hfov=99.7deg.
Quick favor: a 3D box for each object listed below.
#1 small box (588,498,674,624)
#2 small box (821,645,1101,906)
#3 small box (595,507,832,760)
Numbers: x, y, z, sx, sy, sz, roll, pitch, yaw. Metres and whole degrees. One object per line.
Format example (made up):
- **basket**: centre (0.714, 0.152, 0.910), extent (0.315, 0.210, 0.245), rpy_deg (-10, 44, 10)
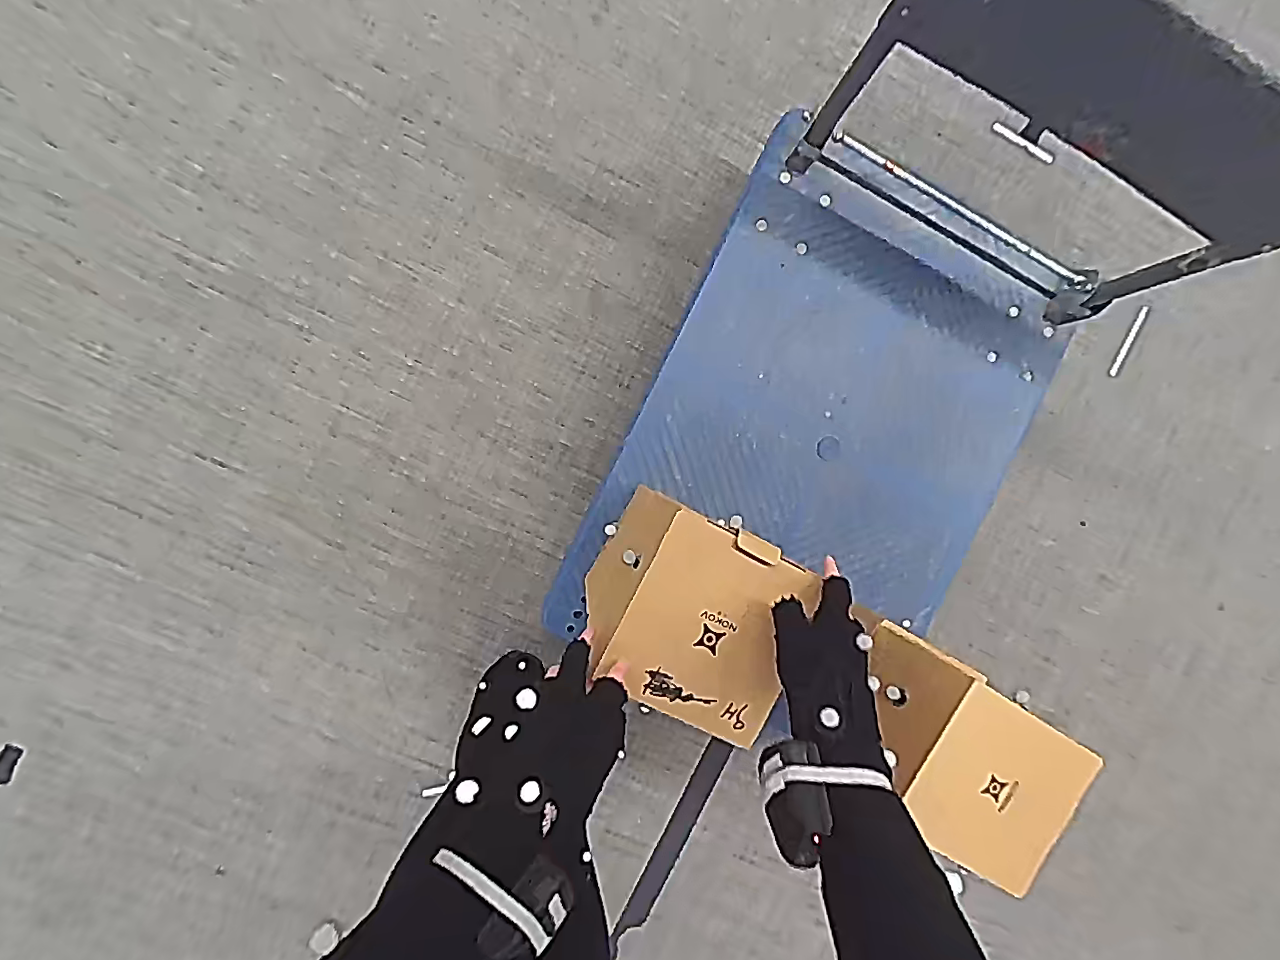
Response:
- **small box**: centre (0.044, 0.135, 0.729), extent (0.179, 0.176, 0.168), rpy_deg (31, 89, -6)
- **small box**: centre (0.340, 0.310, 0.609), extent (0.179, 0.176, 0.168), rpy_deg (32, 89, -8)
- **small box**: centre (0.059, 0.141, 0.565), extent (0.168, 0.176, 0.179), rpy_deg (28, 89, -7)
